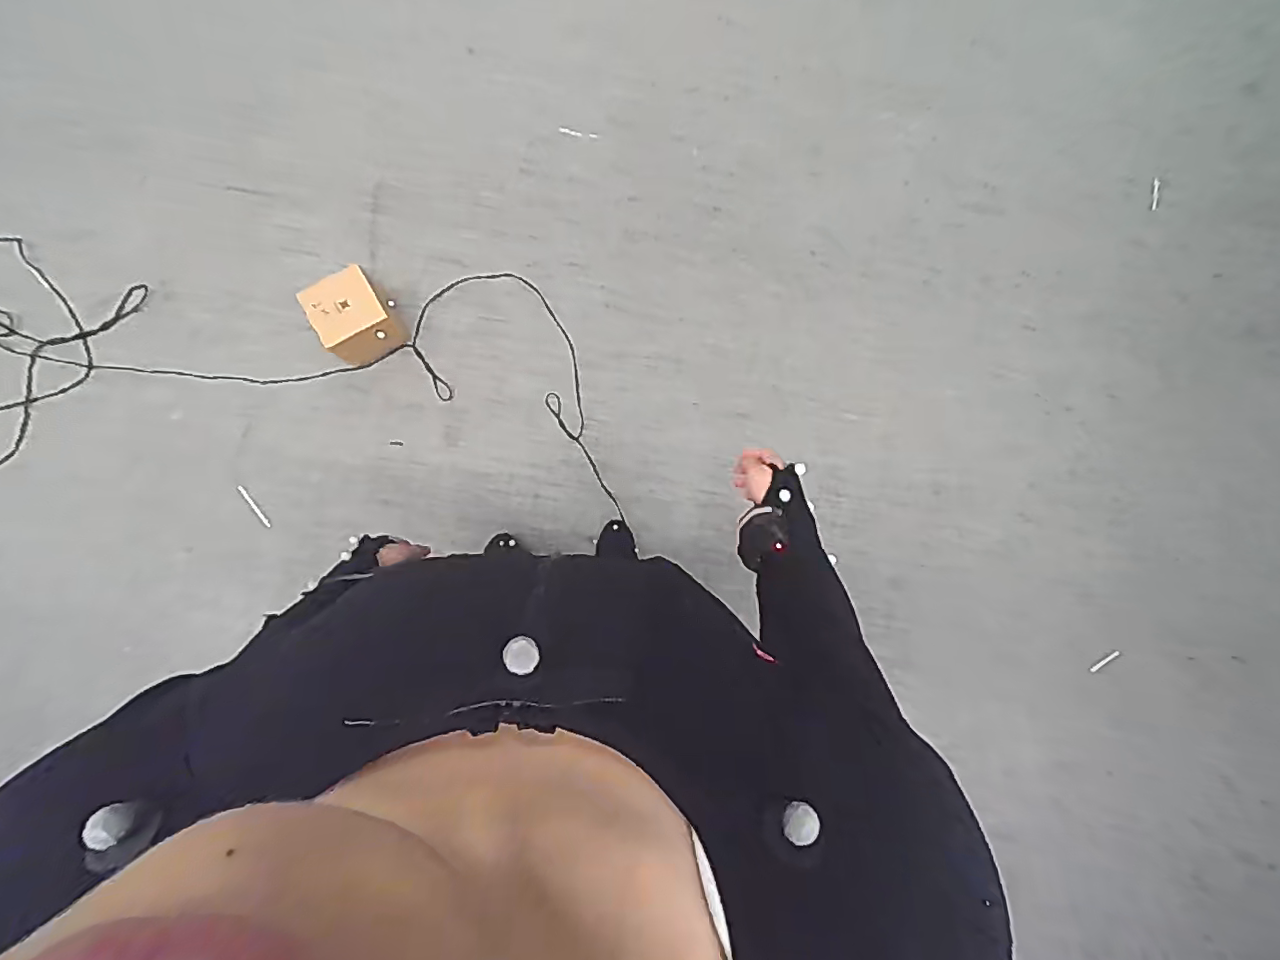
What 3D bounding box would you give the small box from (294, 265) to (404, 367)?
[{"bbox_3d":[-0.755,-0.426,1.431,0.179,0.176,0.168,-30,87,-4],"label":"small box"}]
